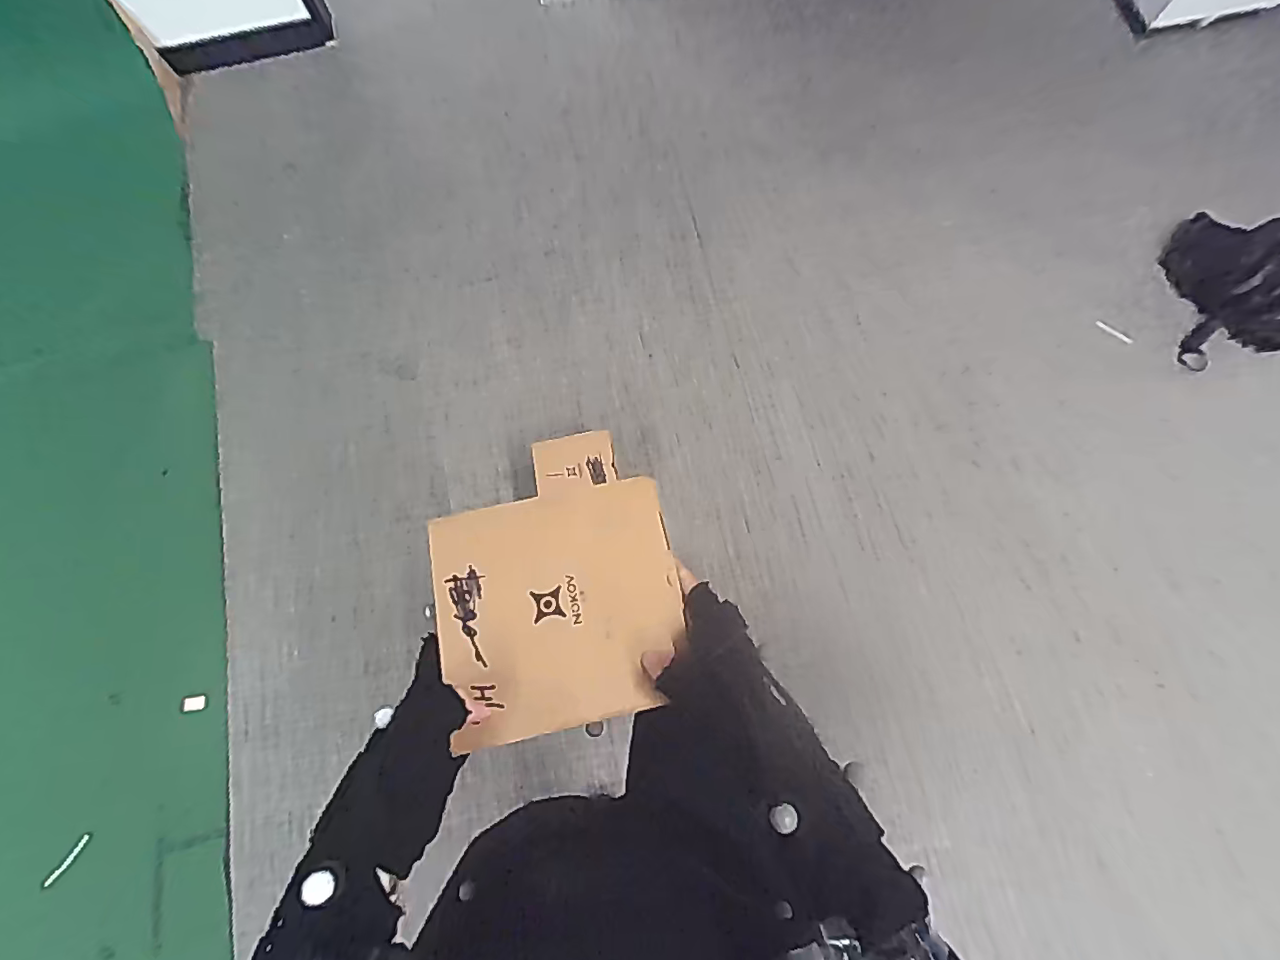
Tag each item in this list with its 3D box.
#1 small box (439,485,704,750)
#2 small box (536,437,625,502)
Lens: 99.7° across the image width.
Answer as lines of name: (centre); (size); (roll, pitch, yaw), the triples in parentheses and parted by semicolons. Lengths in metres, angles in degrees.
small box: (-0.058, 0.119, 0.471); (0.179, 0.176, 0.168); (-10, 70, -6)
small box: (-0.127, 0.016, 1.245); (0.179, 0.176, 0.168); (-13, 76, -2)
